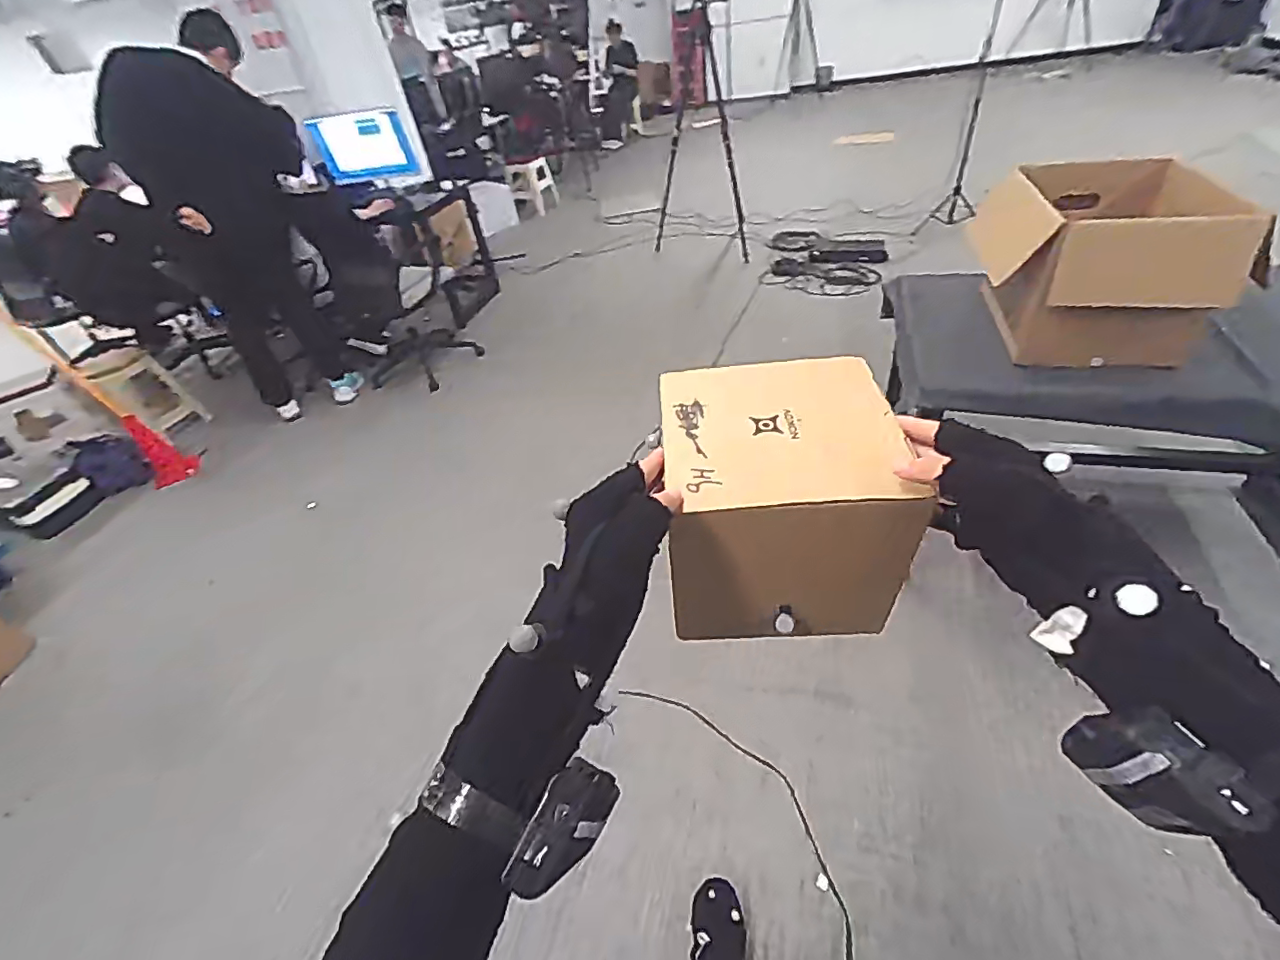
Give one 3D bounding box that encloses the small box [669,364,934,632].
[{"bbox_3d":[0.115,0.019,0.469,0.179,0.176,0.168,-3,44,4],"label":"small box"}]
